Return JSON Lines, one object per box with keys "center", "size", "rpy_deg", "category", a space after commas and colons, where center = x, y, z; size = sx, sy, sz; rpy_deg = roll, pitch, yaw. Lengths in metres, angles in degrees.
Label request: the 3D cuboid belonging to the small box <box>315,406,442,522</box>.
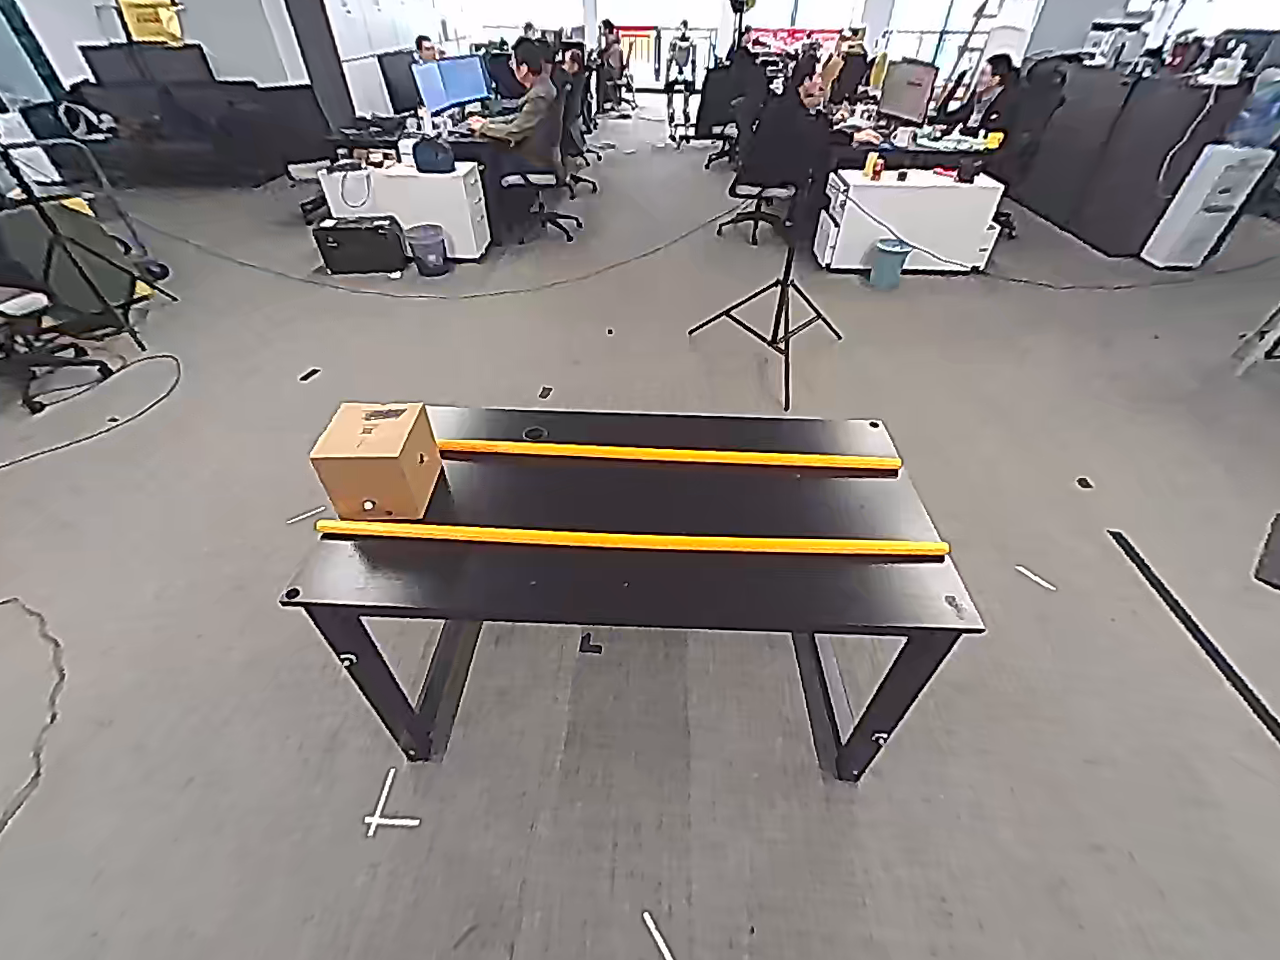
{"center": [-0.517, -0.034, 1.102], "size": [0.168, 0.176, 0.179], "rpy_deg": [-1, 42, -2], "category": "small box"}
